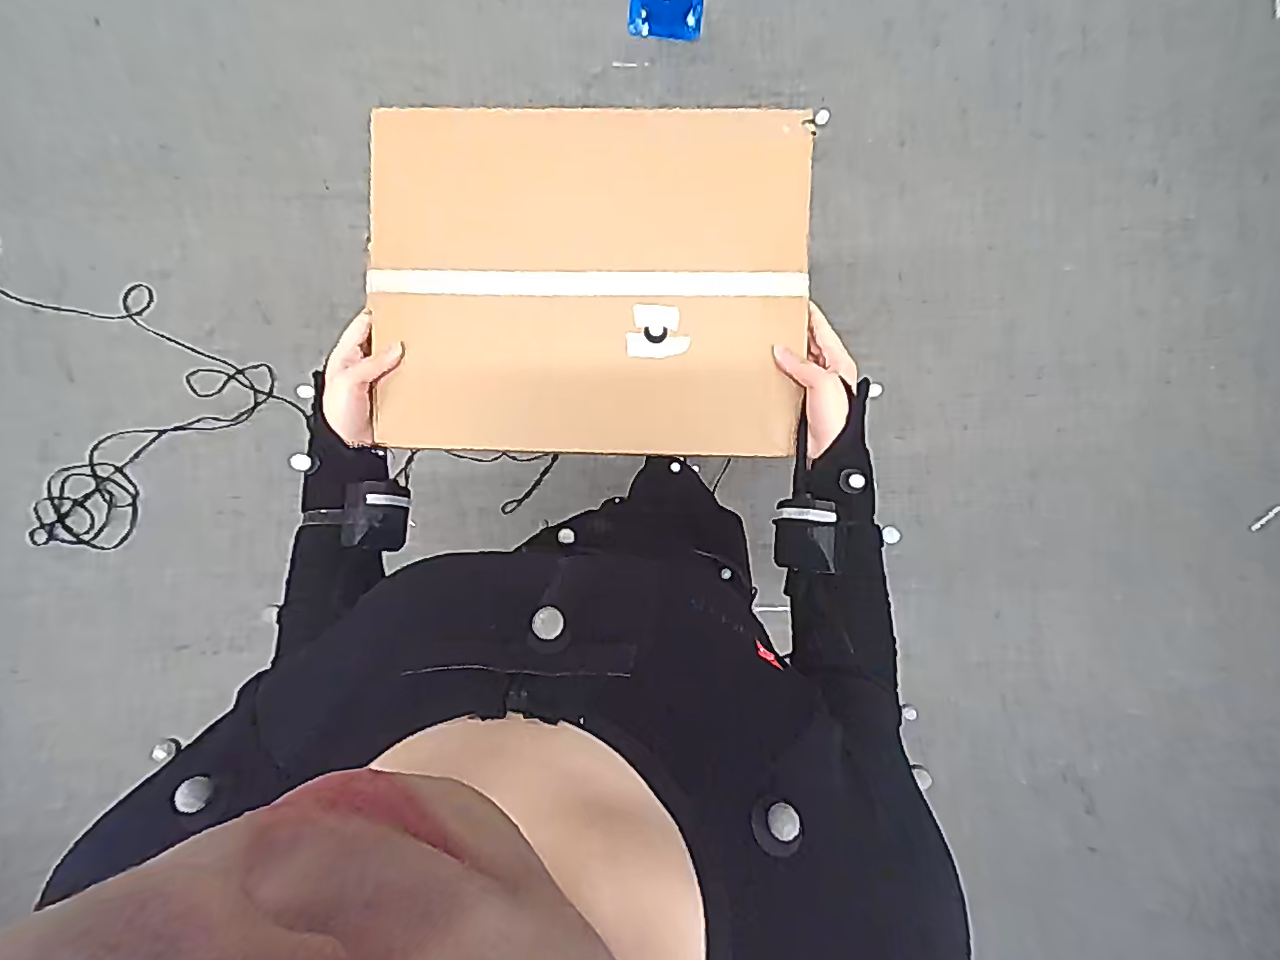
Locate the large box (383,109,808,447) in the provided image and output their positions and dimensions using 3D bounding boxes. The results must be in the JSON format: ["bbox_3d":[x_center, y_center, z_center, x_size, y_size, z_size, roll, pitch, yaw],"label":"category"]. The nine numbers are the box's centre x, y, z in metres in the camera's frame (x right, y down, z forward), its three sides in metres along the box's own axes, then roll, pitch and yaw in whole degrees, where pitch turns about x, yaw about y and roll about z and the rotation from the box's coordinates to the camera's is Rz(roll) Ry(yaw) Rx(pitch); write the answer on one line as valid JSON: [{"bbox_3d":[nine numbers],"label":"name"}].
[{"bbox_3d":[-0.044,-0.198,0.658,0.408,0.320,0.320,1,94,1],"label":"large box"}]

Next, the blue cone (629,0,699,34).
[{"bbox_3d":[0.067,-1.324,1.321,0.193,0.380,0.192,7,90,0],"label":"blue cone"}]
